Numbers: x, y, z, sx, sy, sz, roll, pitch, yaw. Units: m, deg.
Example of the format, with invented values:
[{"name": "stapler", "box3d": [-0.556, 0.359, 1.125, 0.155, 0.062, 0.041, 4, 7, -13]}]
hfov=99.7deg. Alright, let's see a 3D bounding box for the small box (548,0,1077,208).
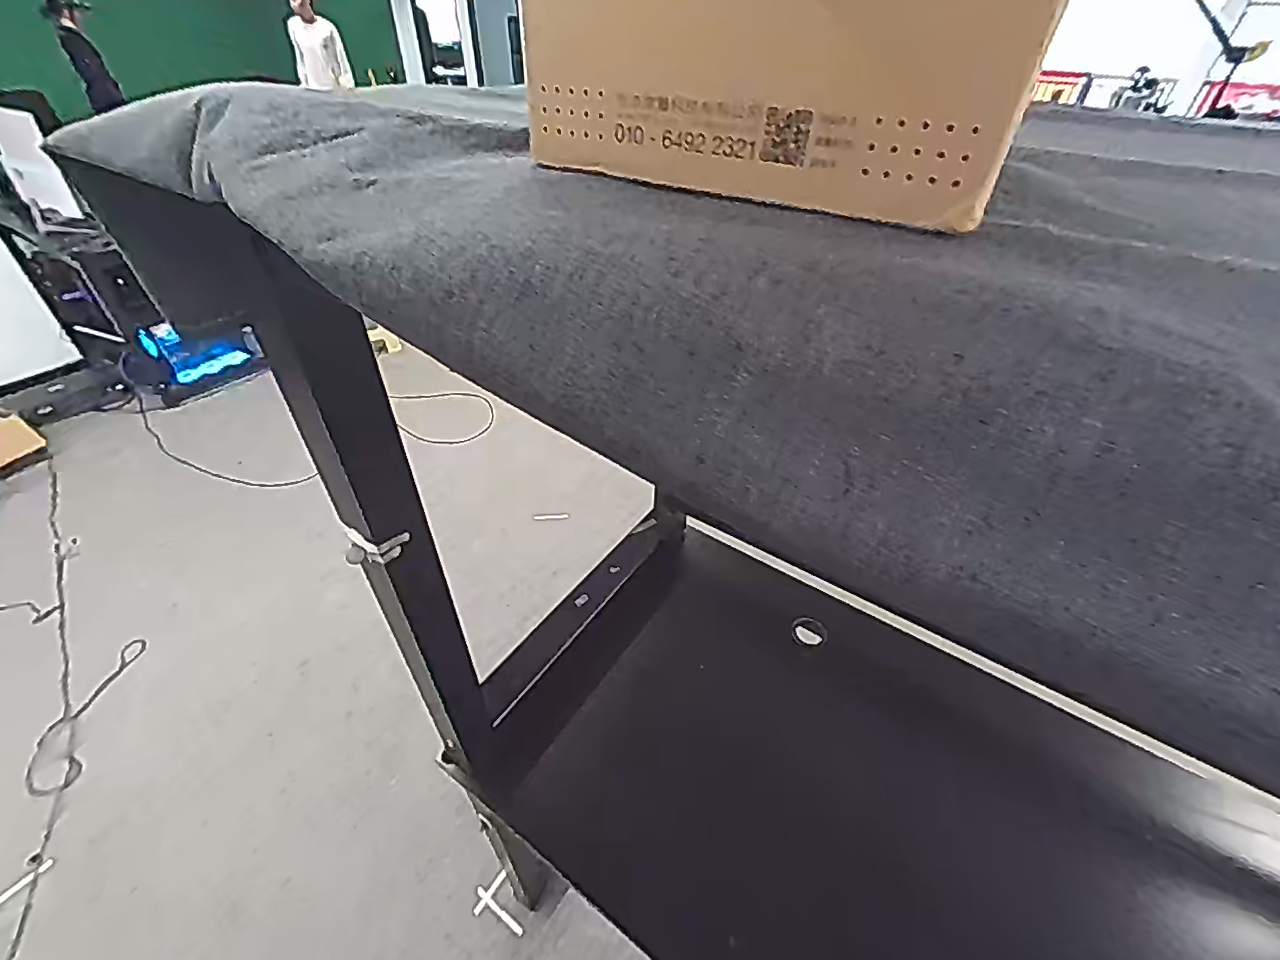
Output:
[{"name": "small box", "box3d": [0.076, -0.211, 0.193, 0.168, 0.176, 0.179, 22, 43, 21]}]
